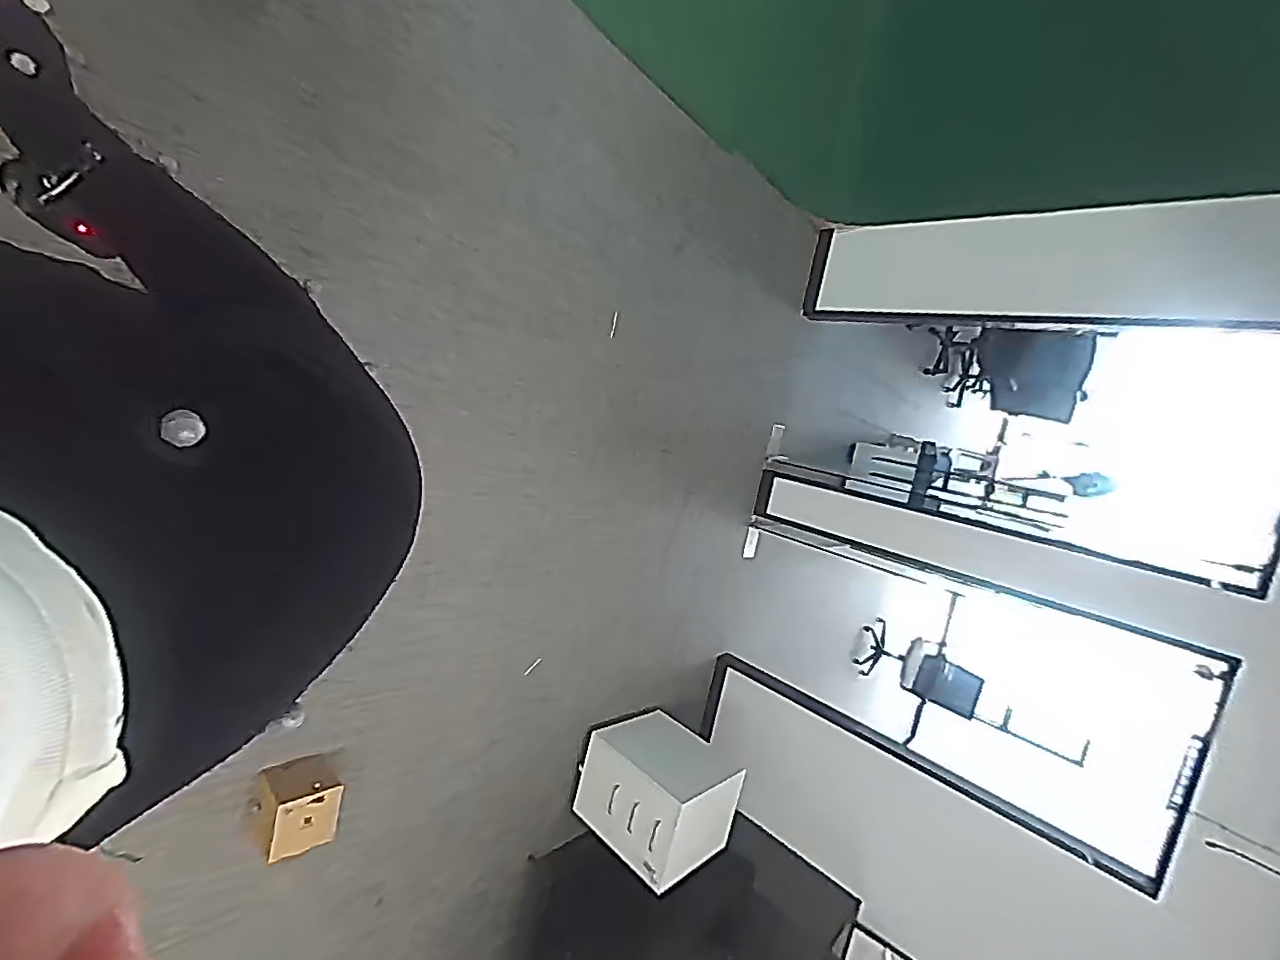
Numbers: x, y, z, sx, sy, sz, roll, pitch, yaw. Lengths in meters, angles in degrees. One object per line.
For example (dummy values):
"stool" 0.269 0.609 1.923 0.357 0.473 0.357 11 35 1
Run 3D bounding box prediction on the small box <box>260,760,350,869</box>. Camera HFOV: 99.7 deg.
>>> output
"small box" -0.960 0.943 1.543 0.168 0.176 0.179 8 97 -49
